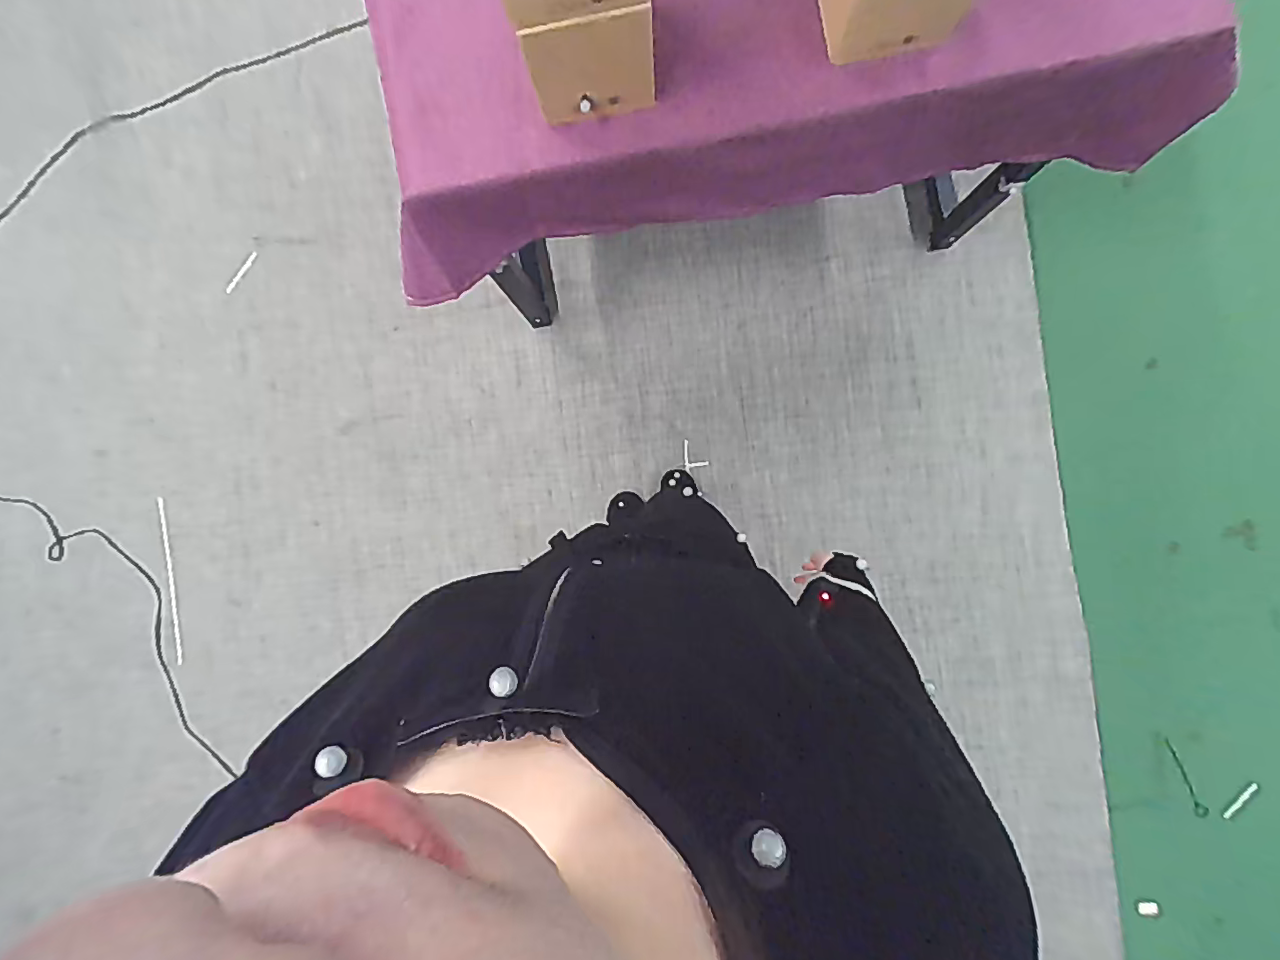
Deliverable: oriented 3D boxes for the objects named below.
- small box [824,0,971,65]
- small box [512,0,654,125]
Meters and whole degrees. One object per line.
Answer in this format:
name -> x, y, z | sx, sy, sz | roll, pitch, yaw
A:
small box -> 0.339, -0.695, 0.699 | 0.168, 0.176, 0.179 | -10, 88, 4
small box -> -0.074, -0.619, 0.717 | 0.168, 0.176, 0.179 | -9, 90, 3
